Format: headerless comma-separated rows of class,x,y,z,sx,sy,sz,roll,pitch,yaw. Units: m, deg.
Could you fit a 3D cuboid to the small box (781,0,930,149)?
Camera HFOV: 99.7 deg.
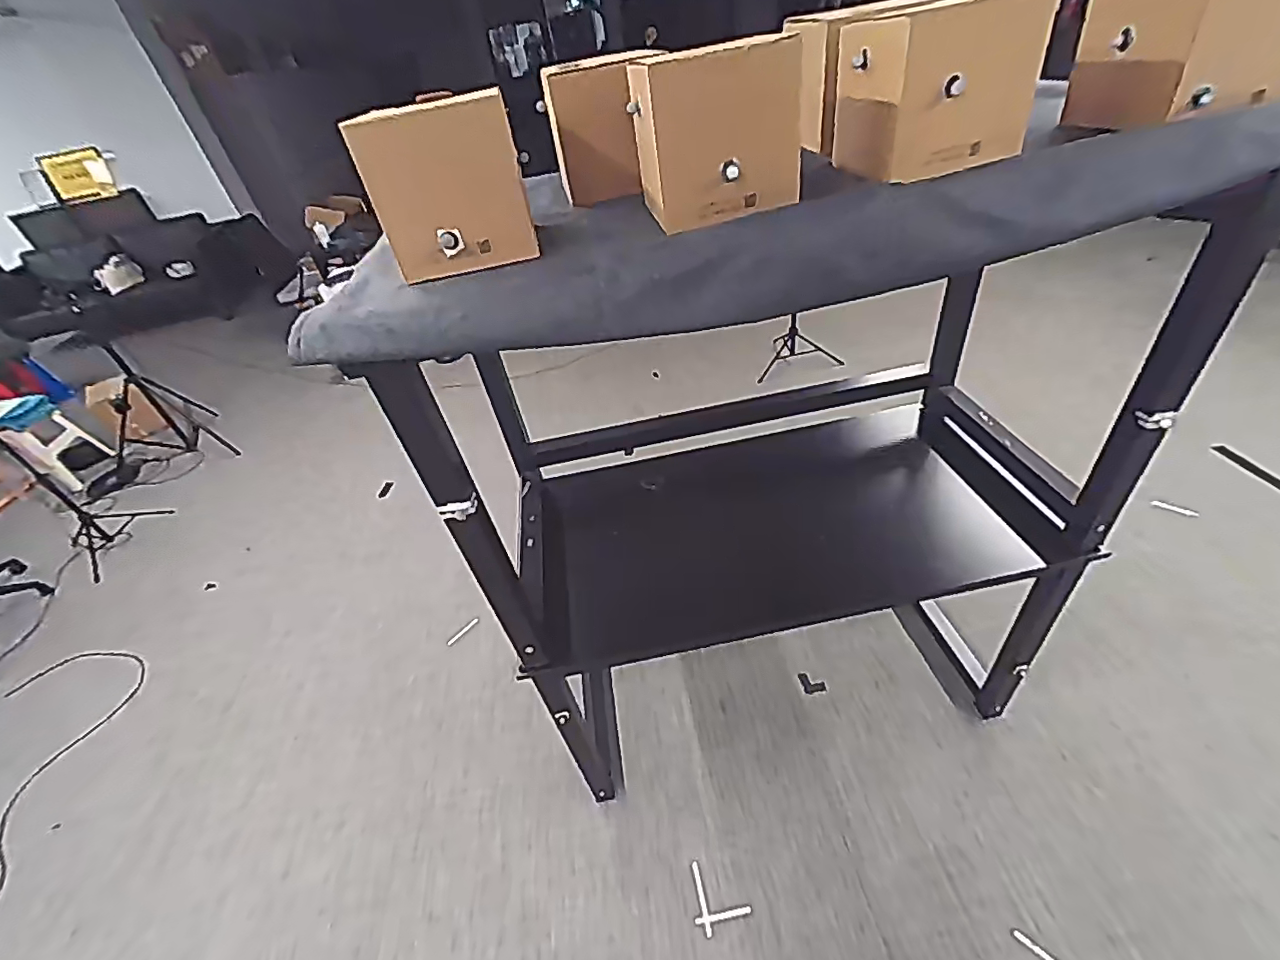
small box,0.334,-0.650,0.876,0.168,0.176,0.179,-12,39,-1

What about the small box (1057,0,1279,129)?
small box,0.667,-0.542,0.660,0.168,0.176,0.179,-11,36,1

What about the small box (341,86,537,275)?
small box,-0.230,-0.370,0.669,0.168,0.176,0.179,-14,38,-3

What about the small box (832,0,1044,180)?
small box,0.355,-0.490,0.678,0.168,0.176,0.179,-12,37,-1
